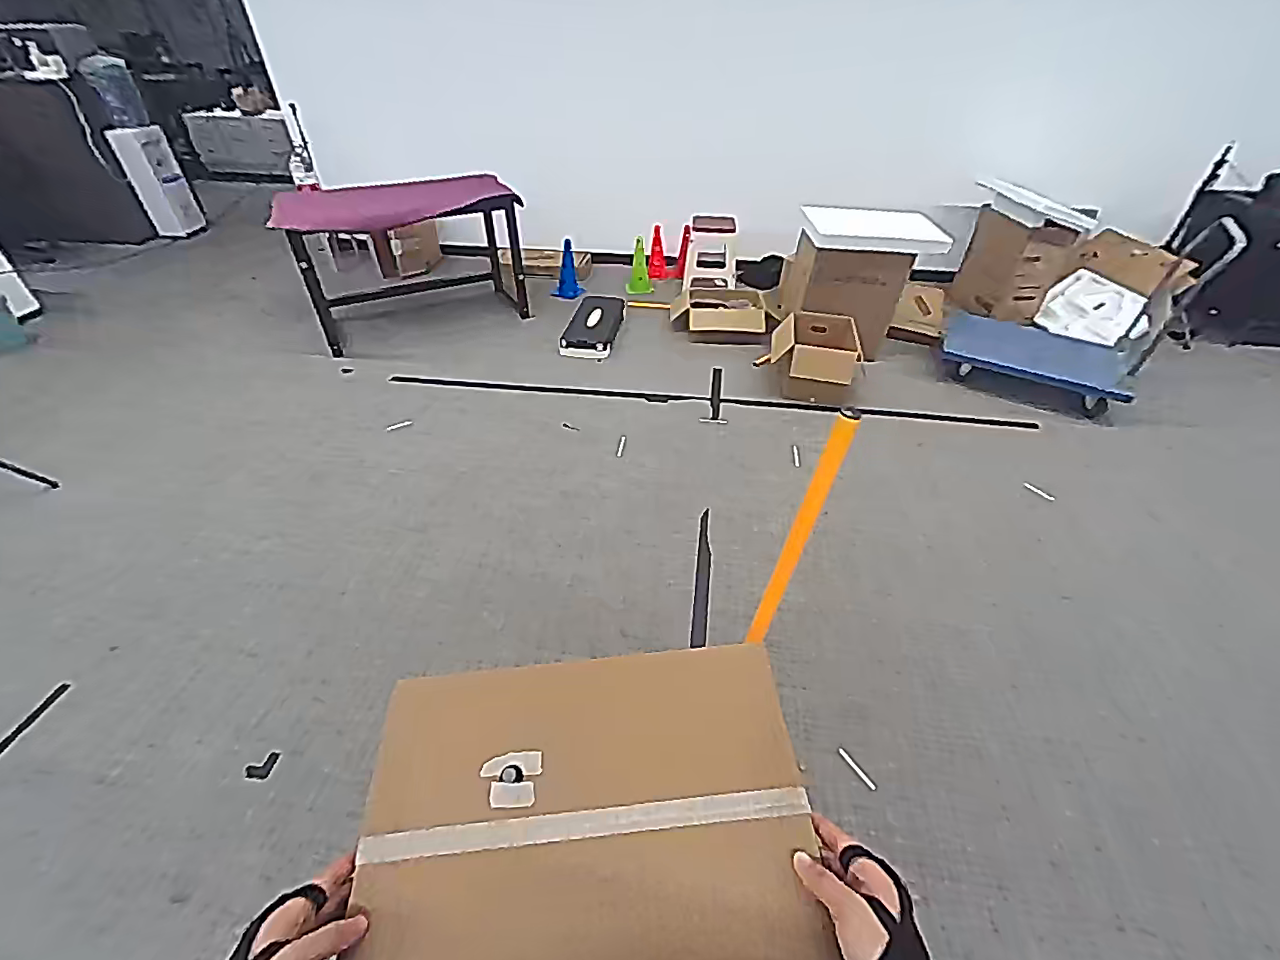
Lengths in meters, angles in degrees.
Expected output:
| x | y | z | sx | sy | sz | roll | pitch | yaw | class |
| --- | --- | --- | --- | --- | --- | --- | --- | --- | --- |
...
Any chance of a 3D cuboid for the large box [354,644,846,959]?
| x | y | z | sx | sy | sz | roll | pitch | yaw | class |
| --- | --- | --- | --- | --- | --- | --- | --- | --- | --- |
| -0.036 | 0.420 | 0.608 | 0.408 | 0.320 | 0.320 | -7 | 47 | -1 | large box |
